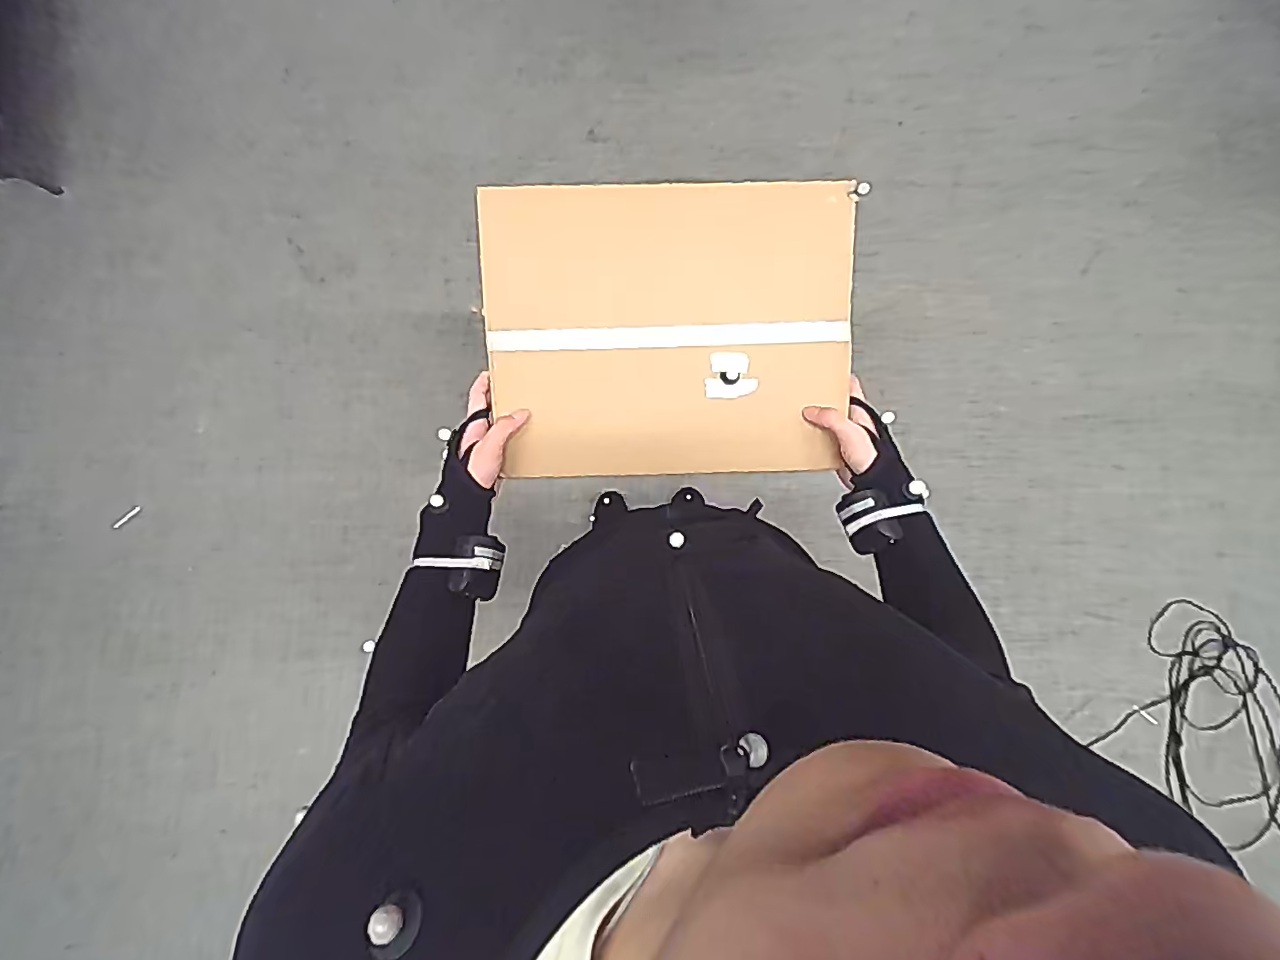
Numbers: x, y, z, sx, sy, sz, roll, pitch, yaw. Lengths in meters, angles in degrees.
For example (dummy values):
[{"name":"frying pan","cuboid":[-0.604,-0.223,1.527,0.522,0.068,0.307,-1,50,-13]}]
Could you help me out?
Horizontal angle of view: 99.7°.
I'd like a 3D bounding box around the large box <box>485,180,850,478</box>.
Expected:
[{"name":"large box","cuboid":[0.032,-0.191,0.755,0.408,0.320,0.320,-3,102,-2]}]
